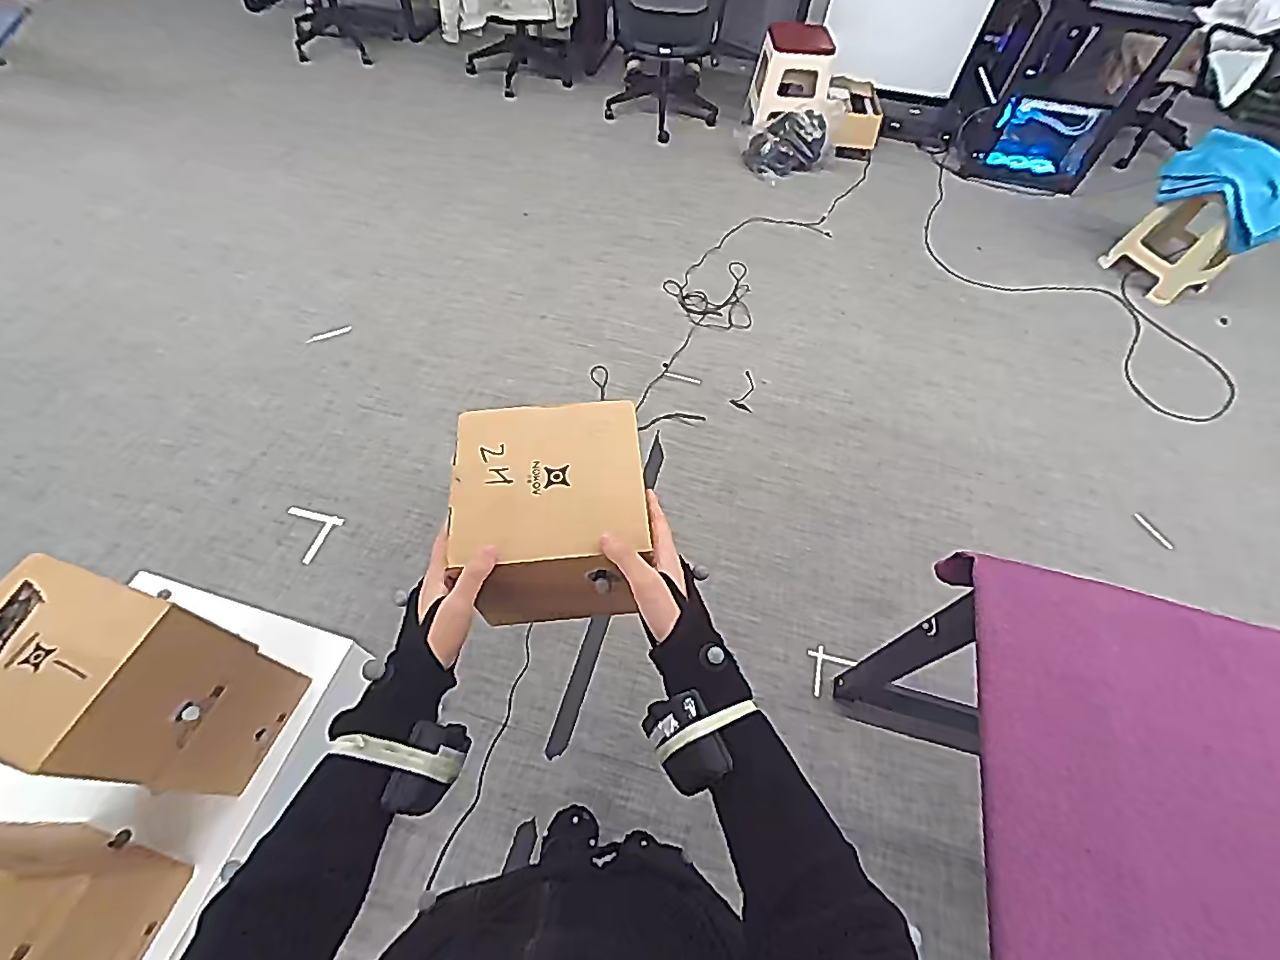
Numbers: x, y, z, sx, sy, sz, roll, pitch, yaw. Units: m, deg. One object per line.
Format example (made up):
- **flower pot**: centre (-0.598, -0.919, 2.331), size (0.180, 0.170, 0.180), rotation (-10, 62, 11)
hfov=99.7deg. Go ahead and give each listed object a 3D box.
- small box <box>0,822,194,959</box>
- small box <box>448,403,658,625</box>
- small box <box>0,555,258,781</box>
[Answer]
- **small box**: centre (-0.663, 0.495, 0.590), size (0.179, 0.176, 0.168), rotation (15, 58, 8)
- **small box**: centre (-0.080, 0.041, 0.556), size (0.179, 0.176, 0.168), rotation (-5, 59, -3)
- **small box**: centre (-0.577, 0.209, 0.583), size (0.179, 0.176, 0.168), rotation (17, 59, 7)
